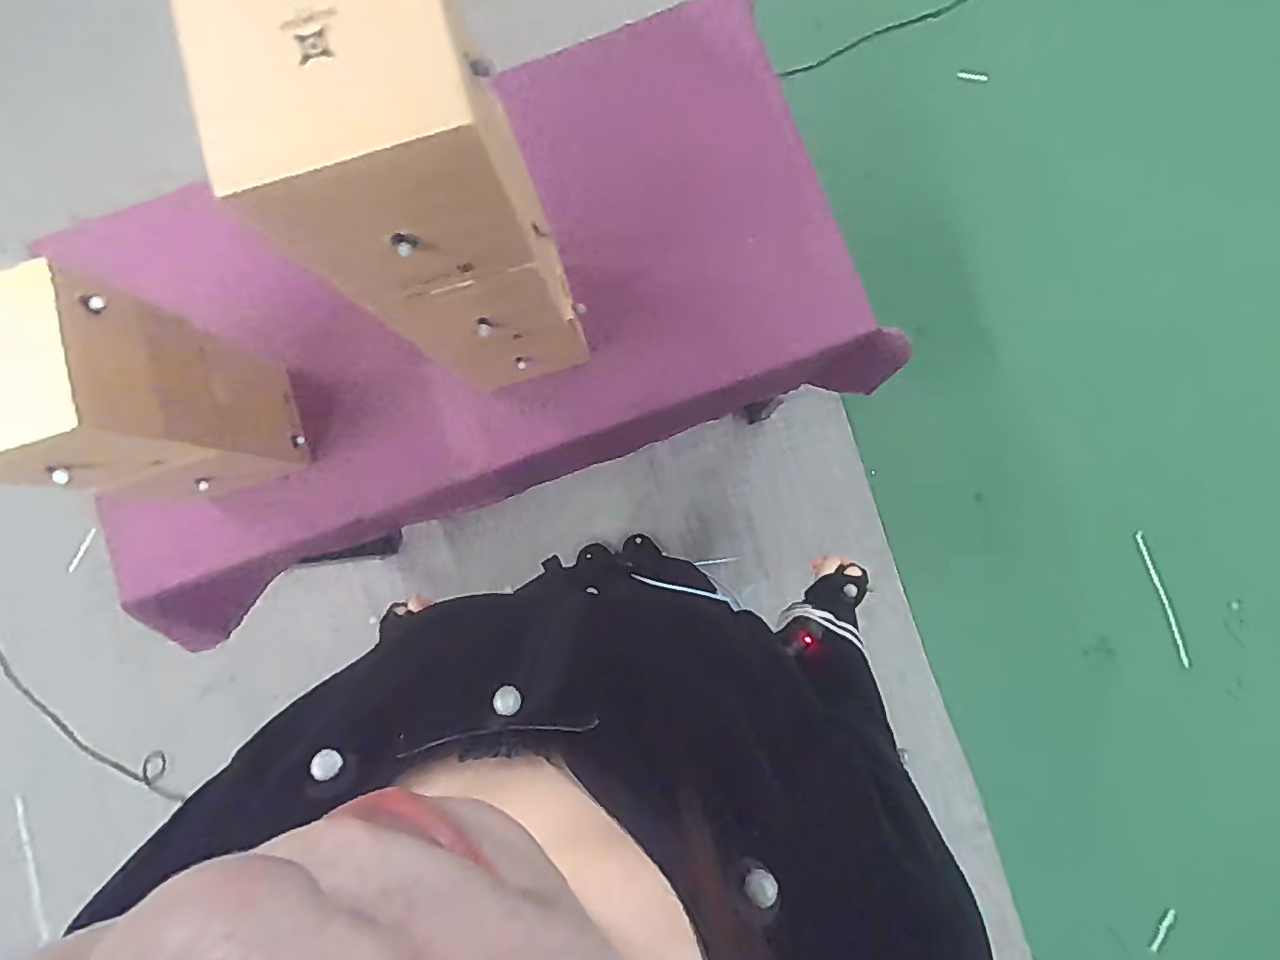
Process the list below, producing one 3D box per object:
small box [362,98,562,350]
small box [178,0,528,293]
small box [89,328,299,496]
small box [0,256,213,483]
[{"bbox_3d":[-0.191,-0.253,0.583,0.168,0.176,0.179,-14,85,0],"label":"small box"},{"bbox_3d":[-0.197,-0.266,0.418,0.168,0.176,0.179,-15,84,0],"label":"small box"},{"bbox_3d":[-0.606,-0.082,0.742,0.179,0.176,0.168,-18,84,0],"label":"small box"},{"bbox_3d":[-0.608,-0.100,0.580,0.168,0.176,0.179,-17,84,0],"label":"small box"}]
